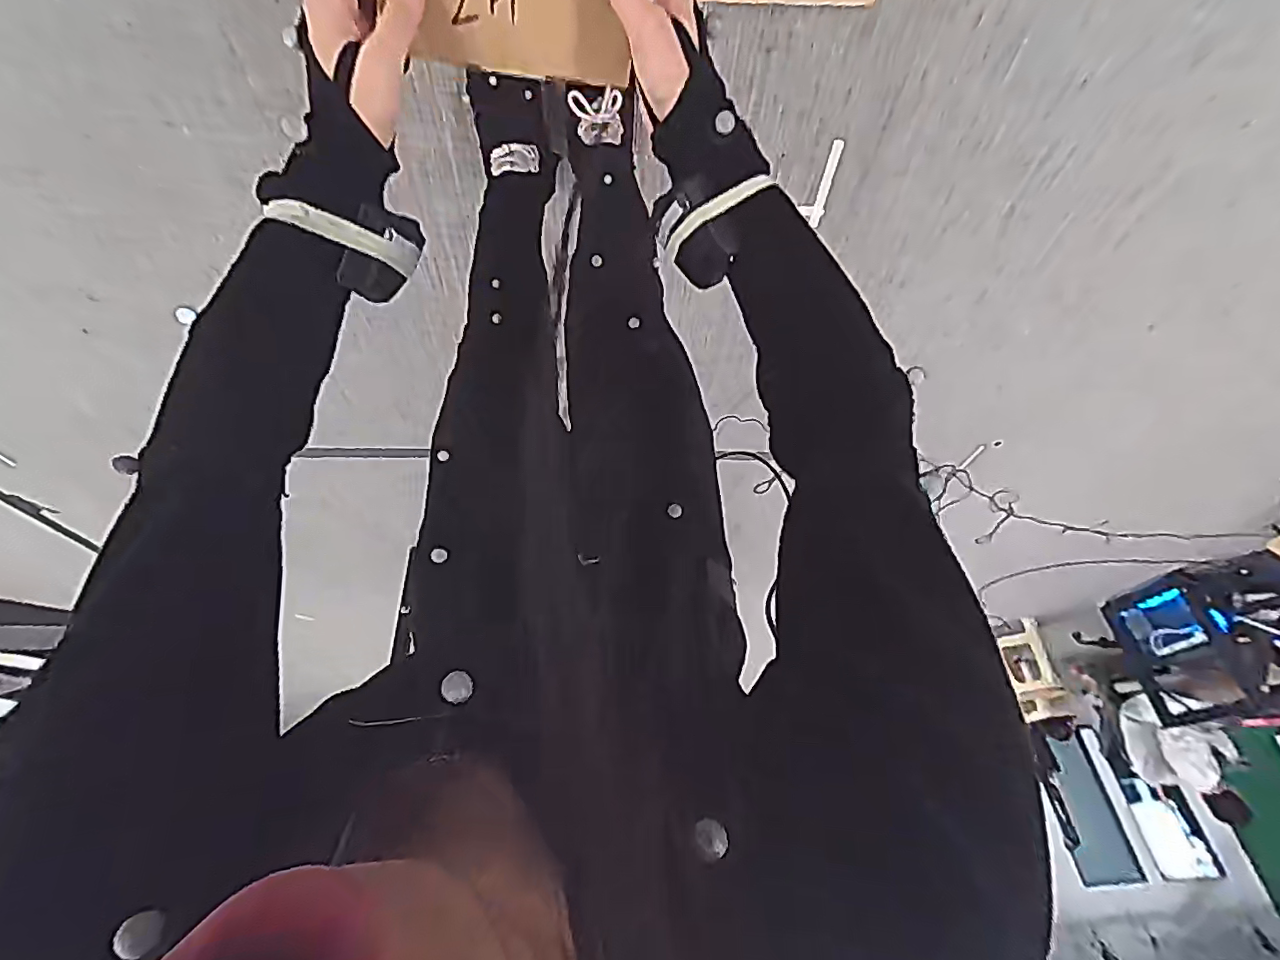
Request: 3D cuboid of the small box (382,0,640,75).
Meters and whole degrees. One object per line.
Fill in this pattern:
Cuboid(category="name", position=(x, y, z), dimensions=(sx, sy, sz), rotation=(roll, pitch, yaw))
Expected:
Cuboid(category="small box", position=(-0.078, -0.404, 0.335), dimensions=(0.168, 0.176, 0.179), rotation=(2, 153, -10))
